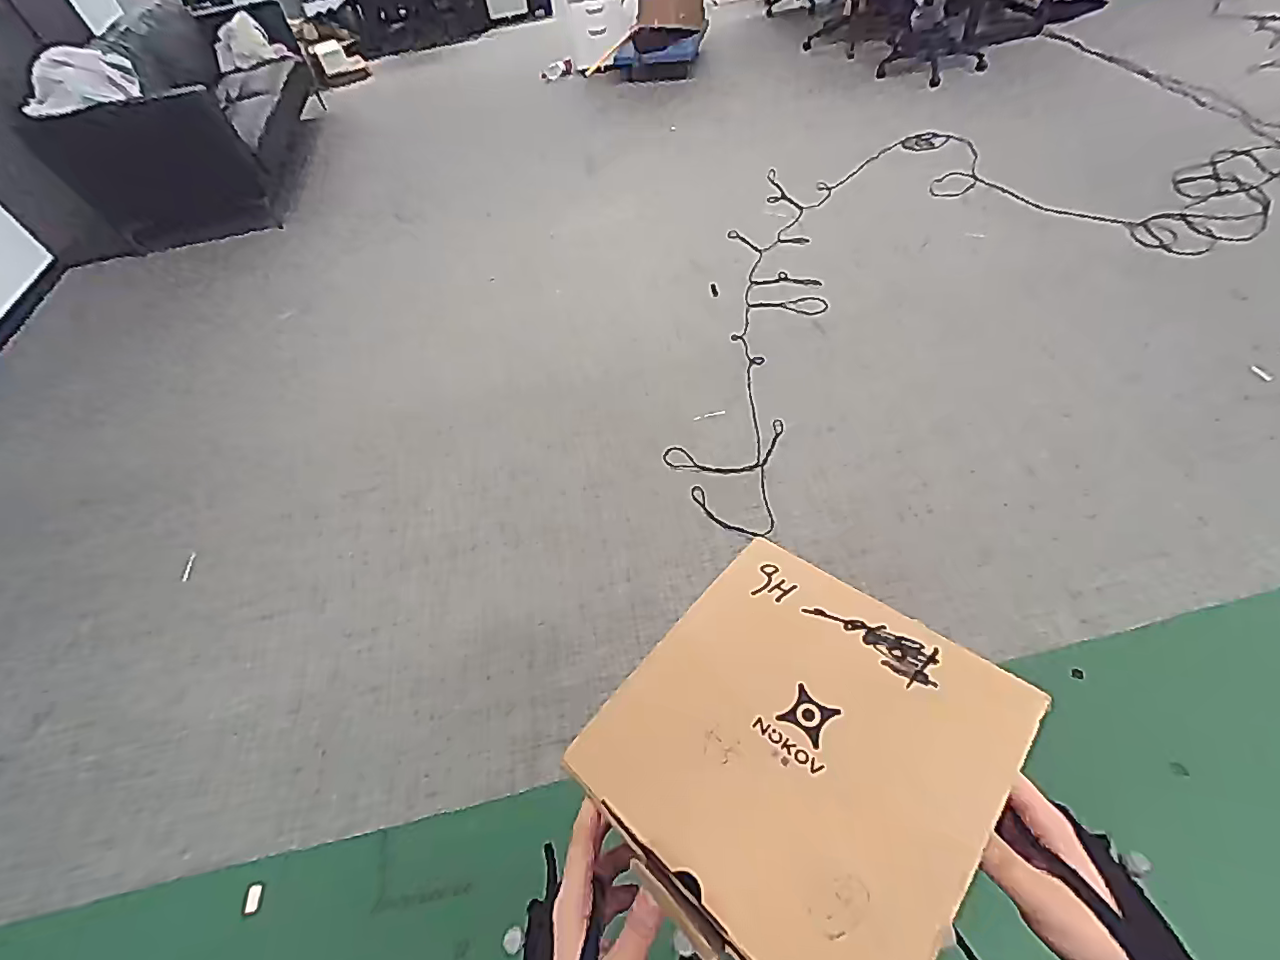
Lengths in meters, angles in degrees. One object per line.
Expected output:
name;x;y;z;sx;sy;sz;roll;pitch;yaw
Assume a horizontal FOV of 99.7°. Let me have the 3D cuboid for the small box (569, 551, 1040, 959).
small box;0.091;0.184;0.324;0.168;0.176;0.179;30;59;34
